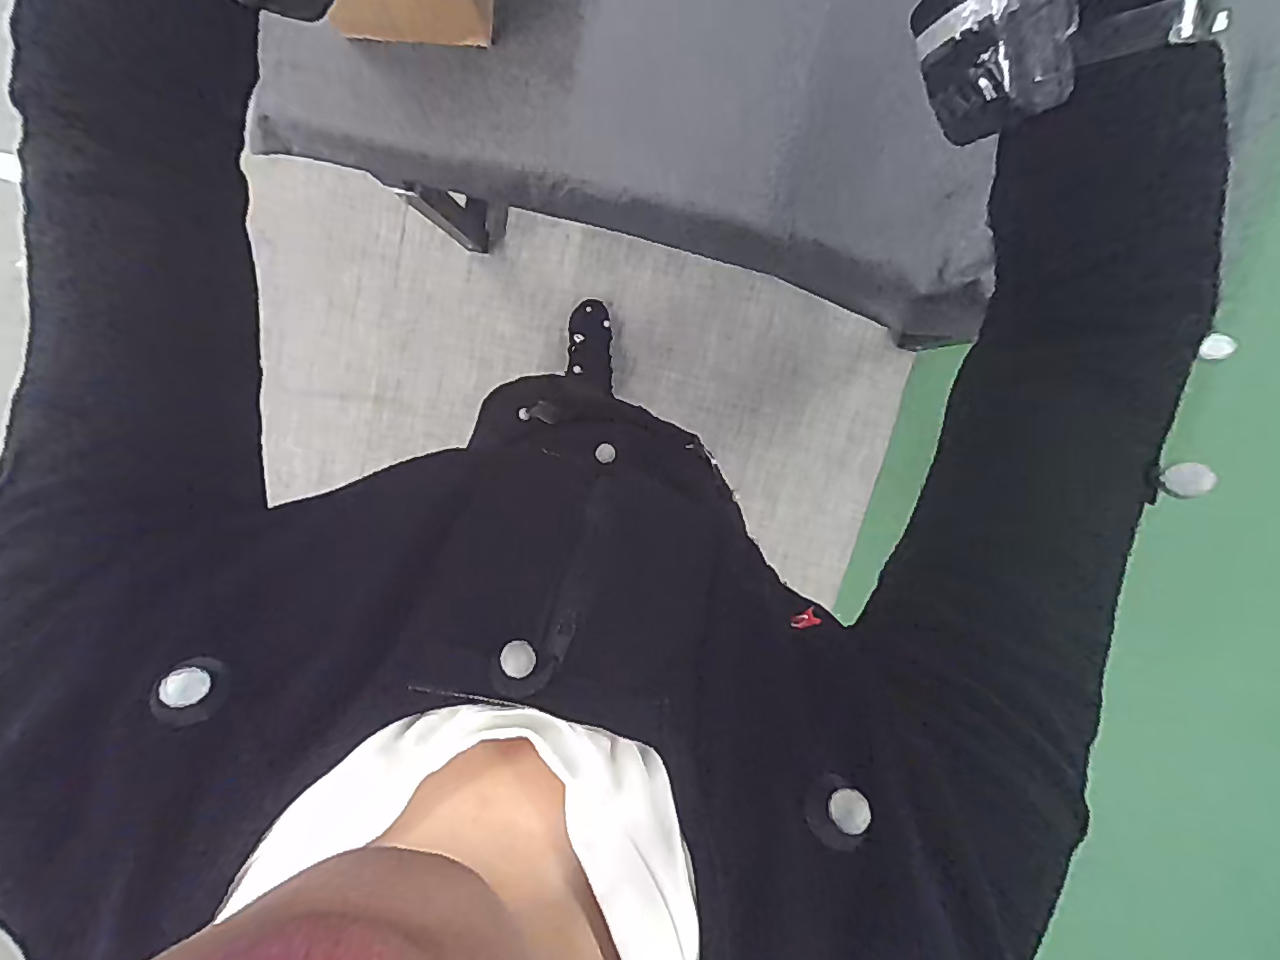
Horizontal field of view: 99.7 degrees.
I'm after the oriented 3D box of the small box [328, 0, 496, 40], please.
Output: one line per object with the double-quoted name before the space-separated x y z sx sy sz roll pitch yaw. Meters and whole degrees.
"small box" -0.250 -0.581 0.537 0.179 0.176 0.168 2 100 -2
